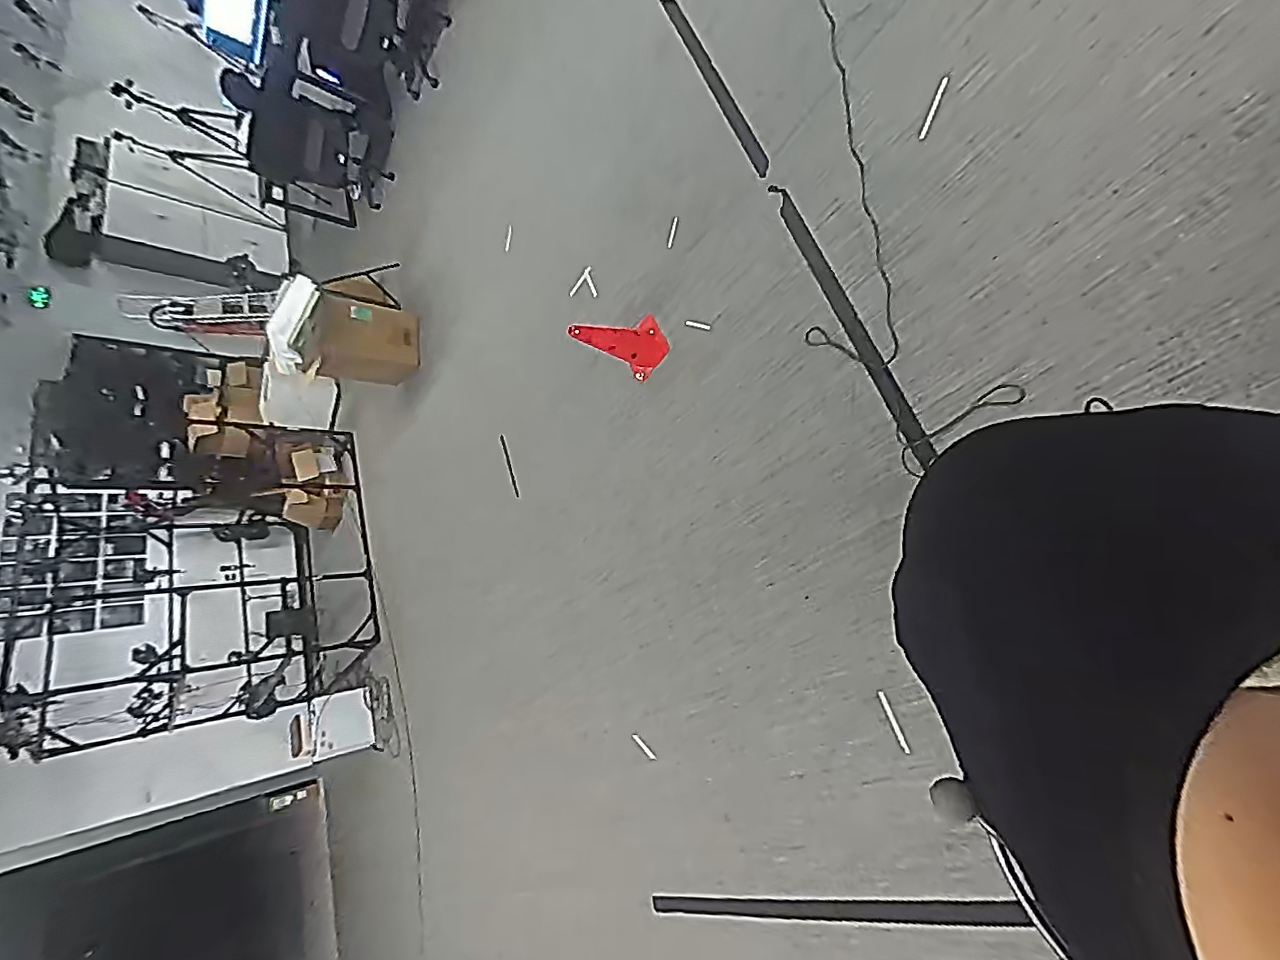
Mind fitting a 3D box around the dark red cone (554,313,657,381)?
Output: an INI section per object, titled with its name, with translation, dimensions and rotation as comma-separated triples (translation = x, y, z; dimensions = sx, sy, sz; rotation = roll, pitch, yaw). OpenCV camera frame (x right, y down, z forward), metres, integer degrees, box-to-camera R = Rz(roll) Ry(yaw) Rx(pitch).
[dark red cone]
translation = -0.138, -0.514, 1.962
dimensions = 0.201, 0.394, 0.202
rotation = -46, 57, 35
